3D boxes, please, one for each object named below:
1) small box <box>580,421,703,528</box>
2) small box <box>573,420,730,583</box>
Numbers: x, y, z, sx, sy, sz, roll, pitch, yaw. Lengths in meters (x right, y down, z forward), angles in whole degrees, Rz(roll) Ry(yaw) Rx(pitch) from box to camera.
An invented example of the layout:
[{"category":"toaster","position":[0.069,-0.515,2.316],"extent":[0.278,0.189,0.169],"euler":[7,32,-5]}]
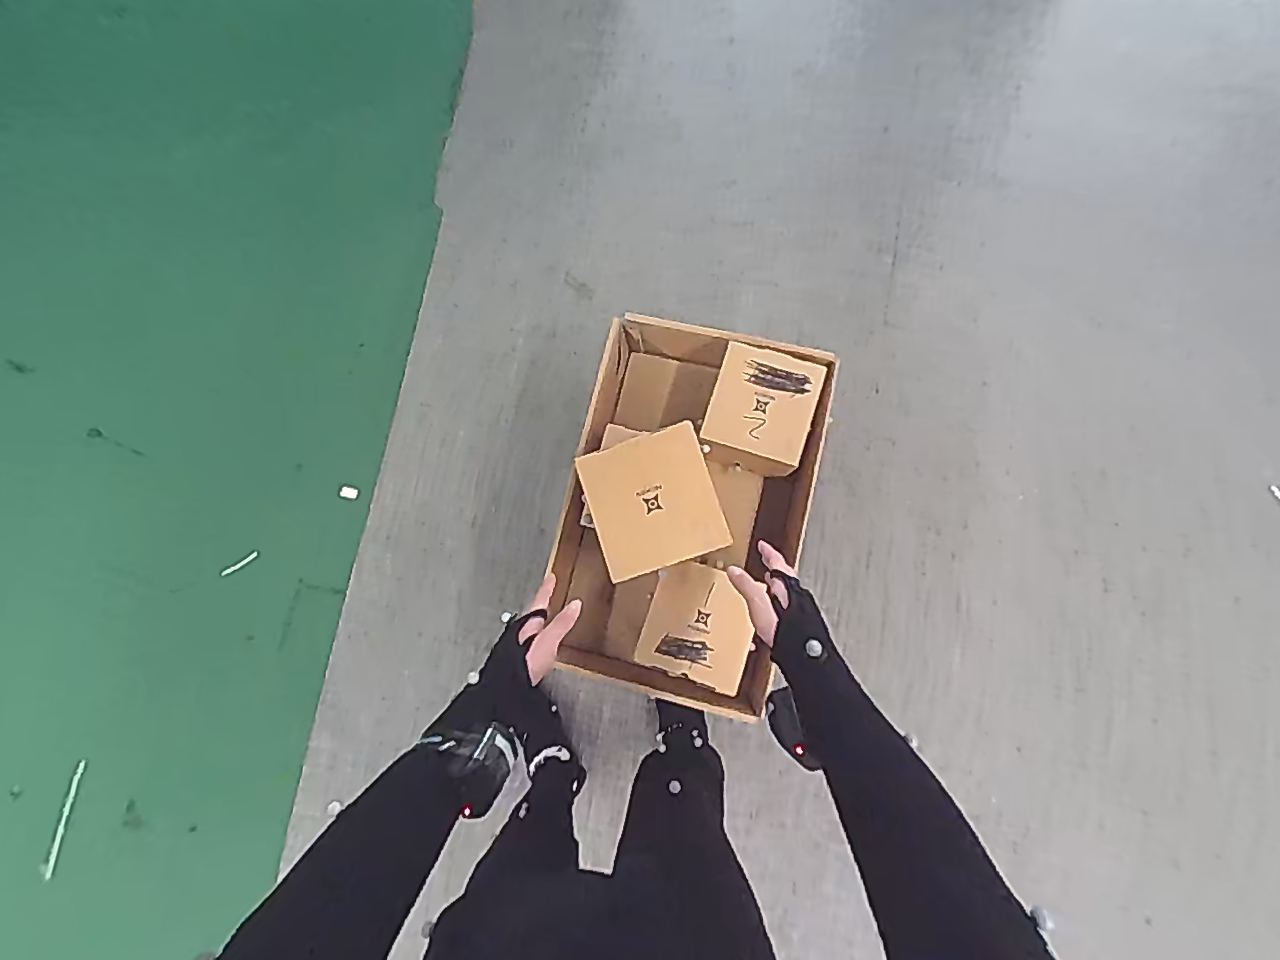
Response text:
[{"category":"small box","position":[0.011,0.016,0.944],"extent":[0.168,0.176,0.179],"euler":[14,84,7]},{"category":"small box","position":[0.022,0.036,0.776],"extent":[0.168,0.176,0.179],"euler":[-19,80,3]}]
